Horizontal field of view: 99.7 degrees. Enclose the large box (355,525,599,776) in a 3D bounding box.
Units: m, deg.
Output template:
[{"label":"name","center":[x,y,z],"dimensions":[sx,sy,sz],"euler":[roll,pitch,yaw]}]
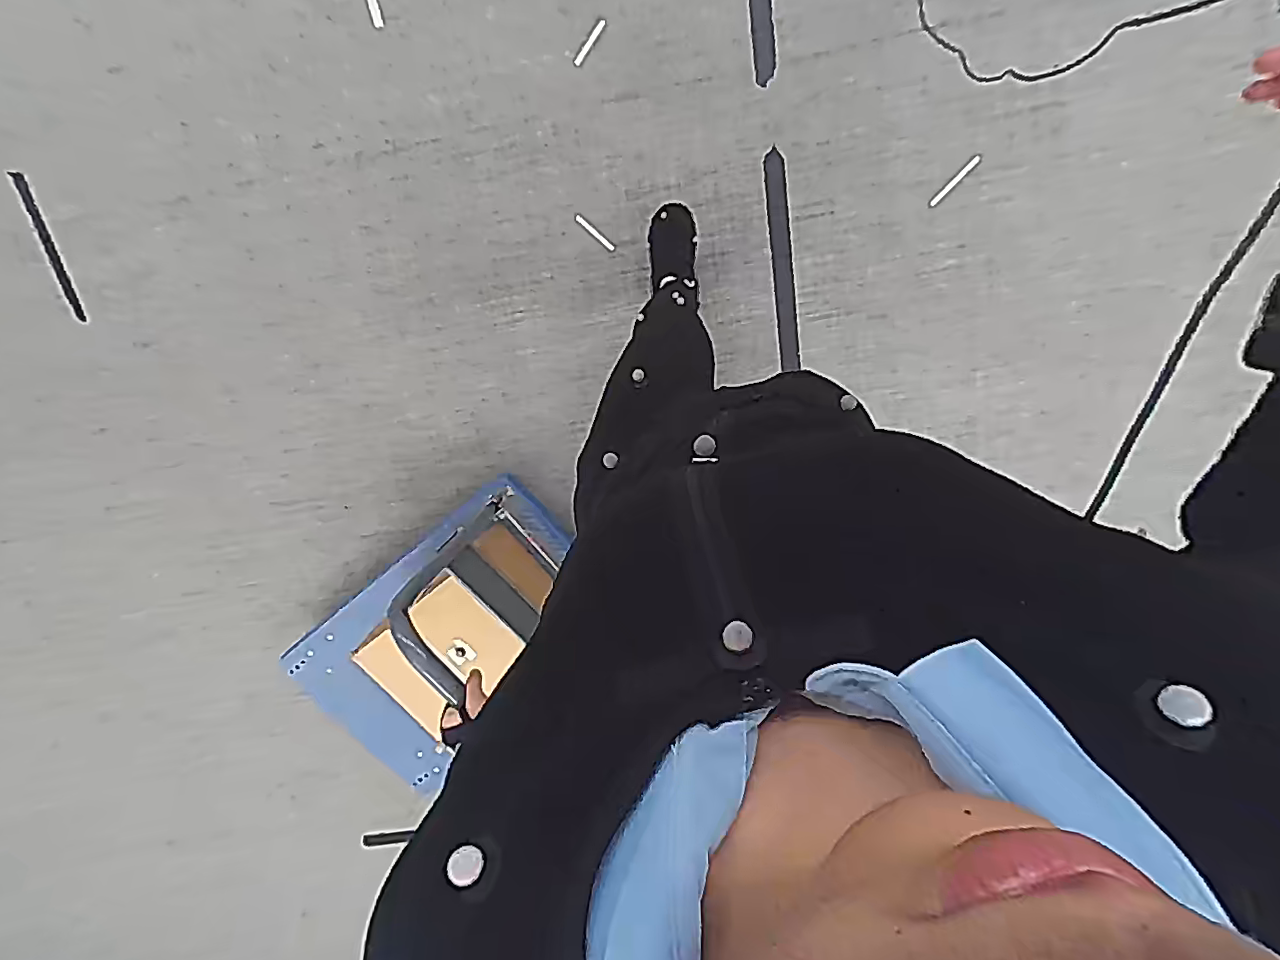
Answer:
[{"label":"large box","center":[-0.352,0.385,1.282],"dimensions":[0.320,0.320,0.408],"euler":[-38,100,10]}]
